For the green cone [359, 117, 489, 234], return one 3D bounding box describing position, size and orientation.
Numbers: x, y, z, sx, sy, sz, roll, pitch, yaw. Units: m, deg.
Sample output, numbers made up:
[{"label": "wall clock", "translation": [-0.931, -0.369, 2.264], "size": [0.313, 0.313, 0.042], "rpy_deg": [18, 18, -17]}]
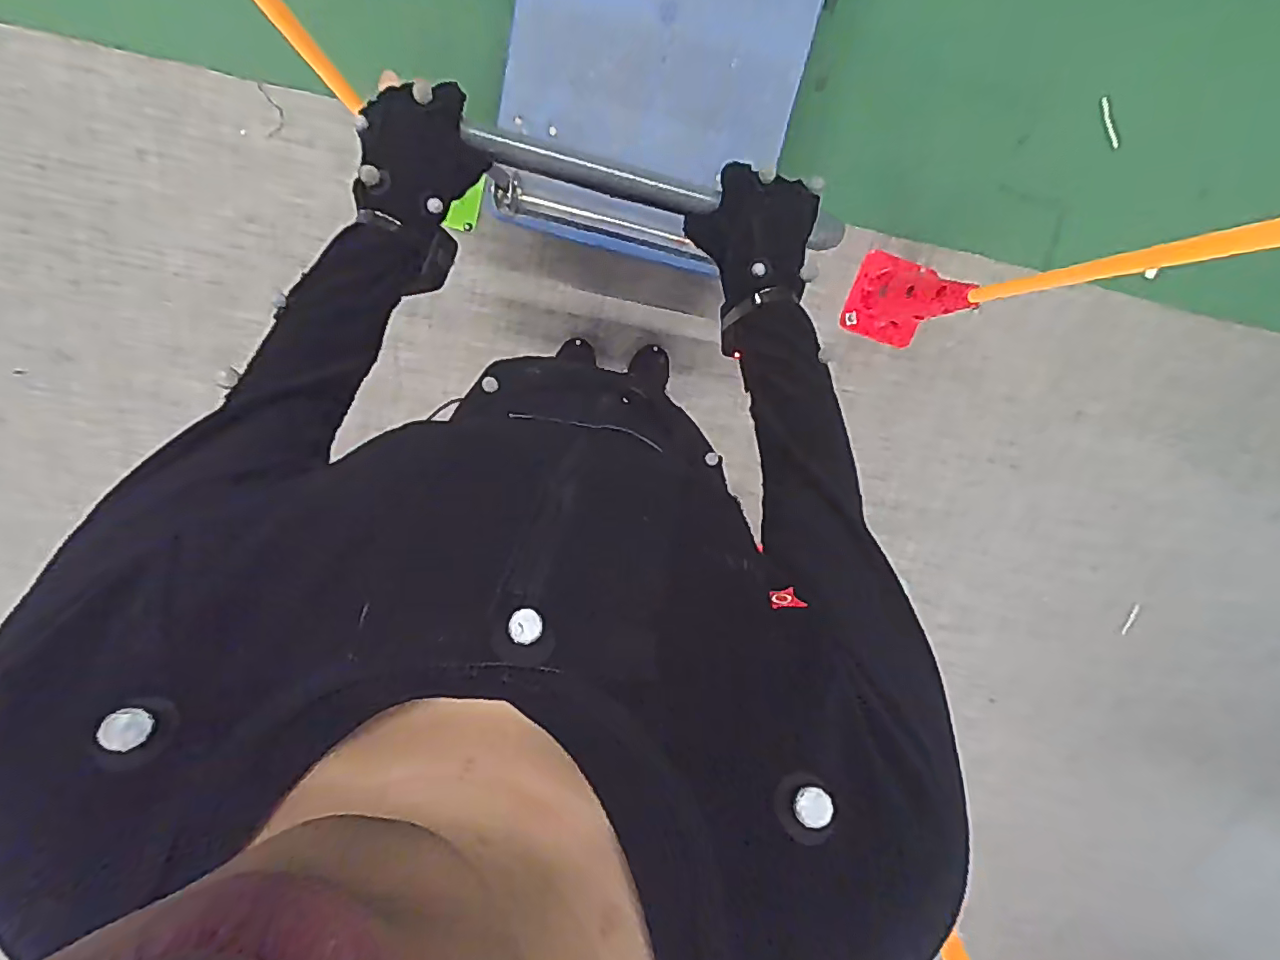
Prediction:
[{"label": "green cone", "translation": [-0.467, -0.662, 1.111], "size": [0.202, 0.368, 0.200], "rpy_deg": [16, 105, -6]}]
